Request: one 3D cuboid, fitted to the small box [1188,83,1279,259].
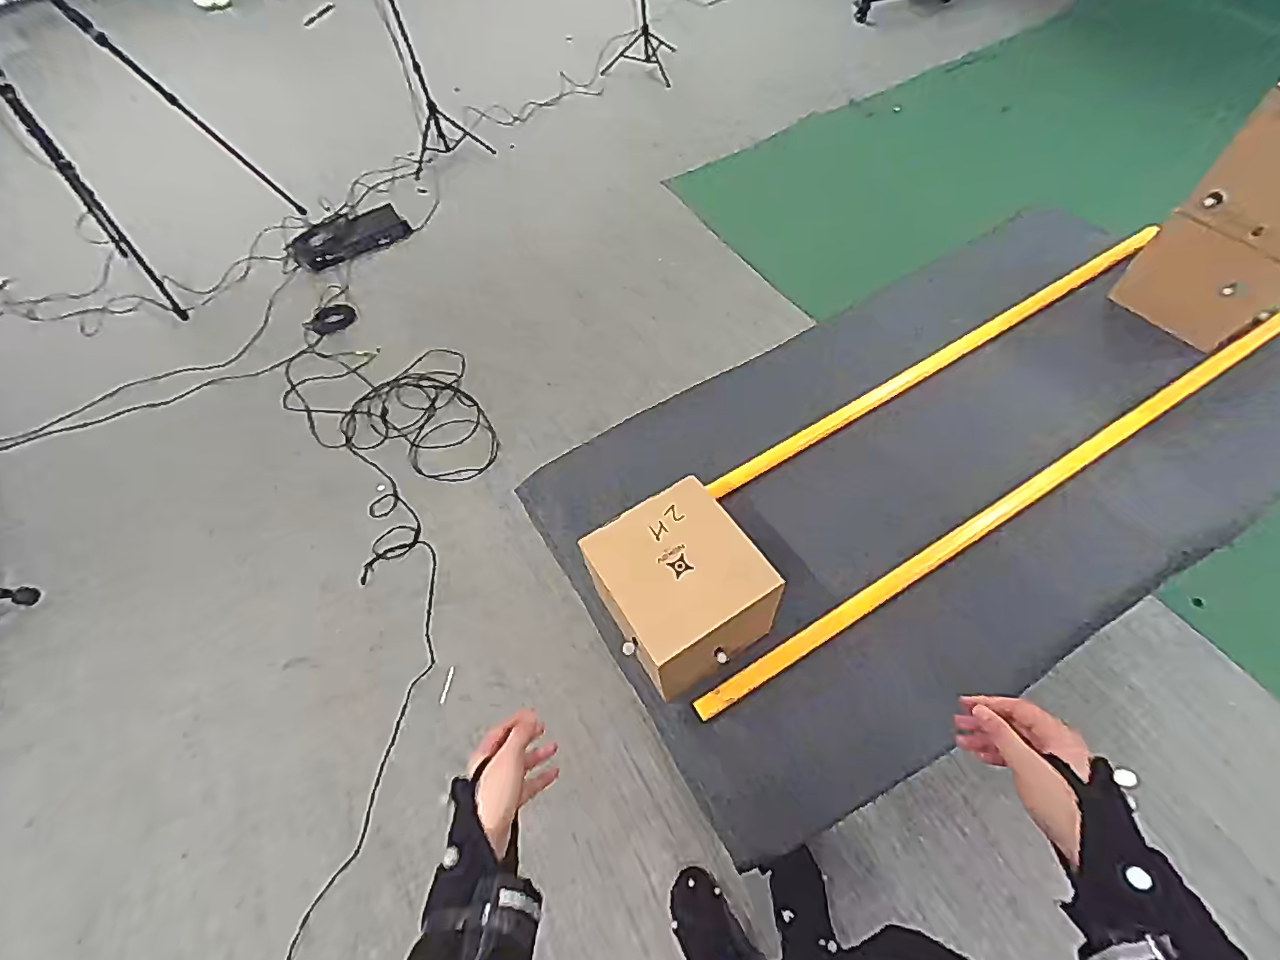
[{"bbox_3d":[0.920,-0.433,0.732,0.179,0.176,0.168,-25,59,-9],"label":"small box"}]

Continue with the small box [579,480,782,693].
[{"bbox_3d":[0.049,0.139,0.667,0.168,0.176,0.179,-30,58,-14],"label":"small box"}]
